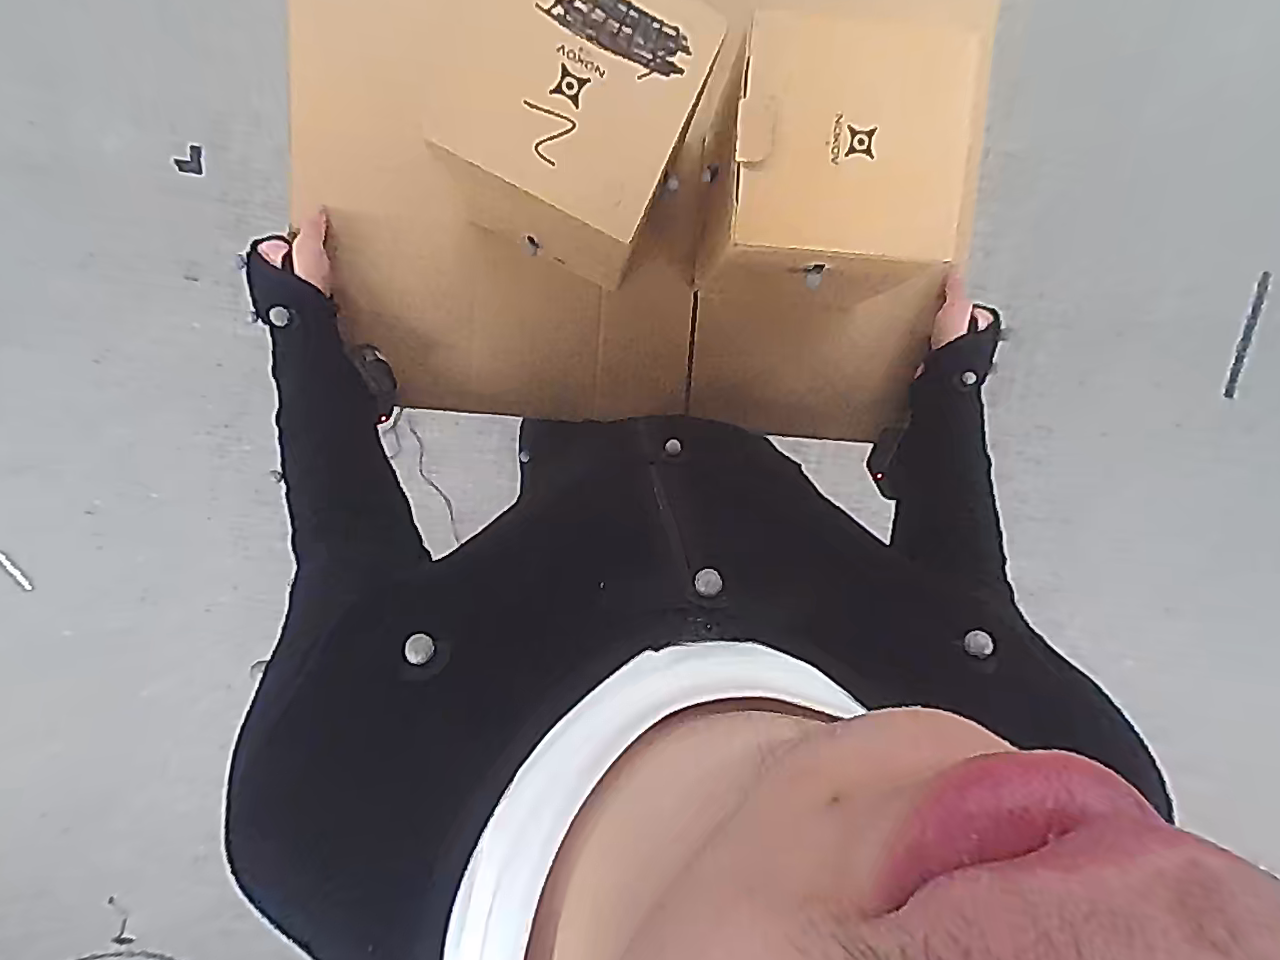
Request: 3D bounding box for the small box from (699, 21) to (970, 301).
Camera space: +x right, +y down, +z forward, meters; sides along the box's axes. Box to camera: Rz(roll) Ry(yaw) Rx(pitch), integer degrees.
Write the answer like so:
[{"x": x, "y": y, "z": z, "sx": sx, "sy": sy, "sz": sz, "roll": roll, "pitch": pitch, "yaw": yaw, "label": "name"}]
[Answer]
[{"x": 0.160, "y": -0.269, "z": 0.501, "sx": 0.179, "sy": 0.176, "sz": 0.168, "roll": 3, "pitch": 96, "yaw": -3, "label": "small box"}]
